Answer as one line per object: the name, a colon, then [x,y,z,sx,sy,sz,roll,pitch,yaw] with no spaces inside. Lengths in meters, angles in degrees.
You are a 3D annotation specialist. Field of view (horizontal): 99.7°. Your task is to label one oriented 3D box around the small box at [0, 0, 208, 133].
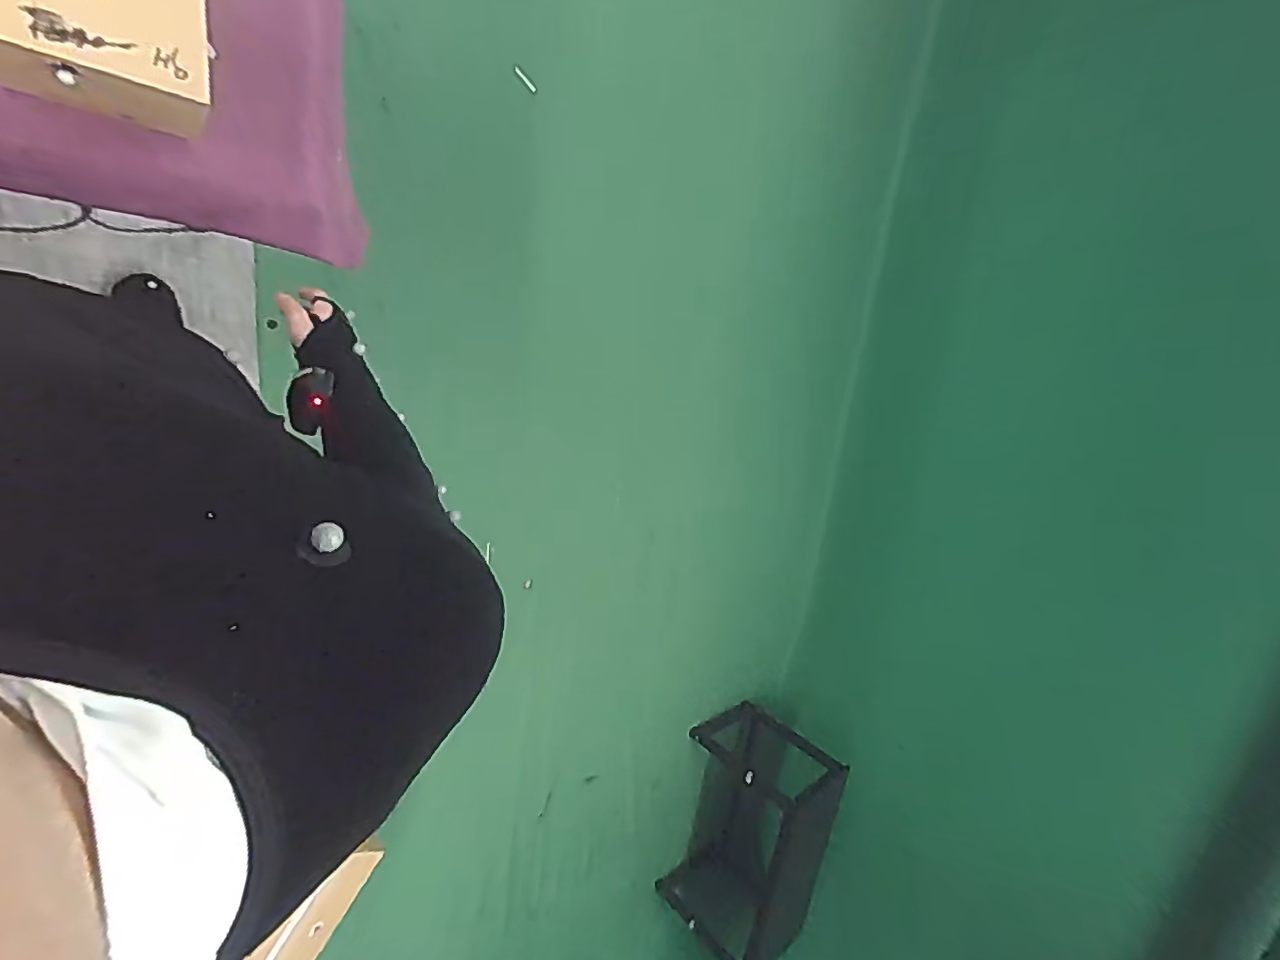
small box: [-0.525,-0.466,0.511,0.168,0.176,0.179,-5,108,-42]
